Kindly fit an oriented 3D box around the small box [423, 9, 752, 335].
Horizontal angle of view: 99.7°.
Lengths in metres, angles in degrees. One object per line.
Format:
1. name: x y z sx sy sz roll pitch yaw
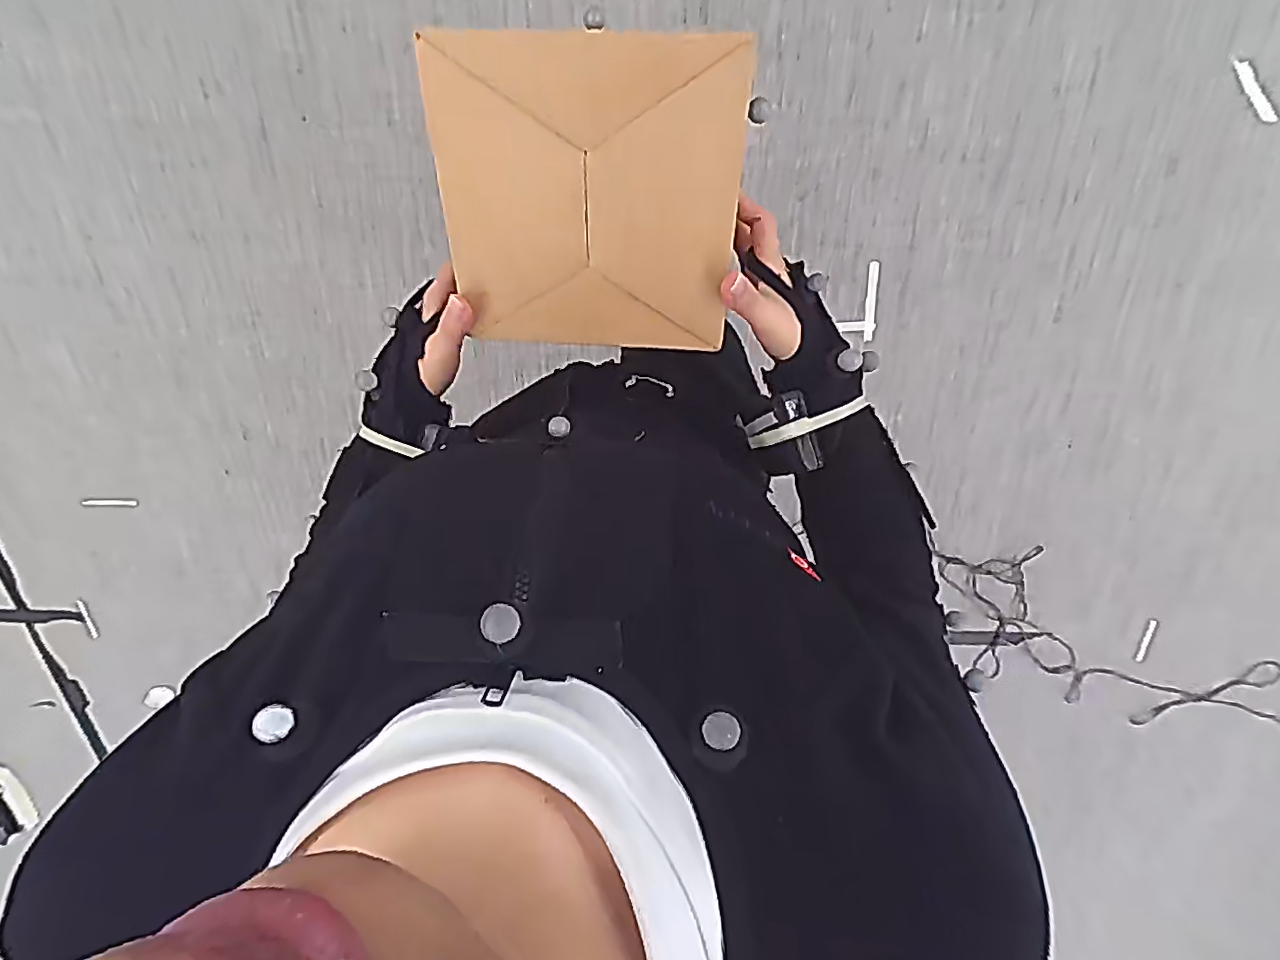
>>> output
1. small box: -0.020 -0.209 0.377 0.179 0.176 0.168 4 126 3
